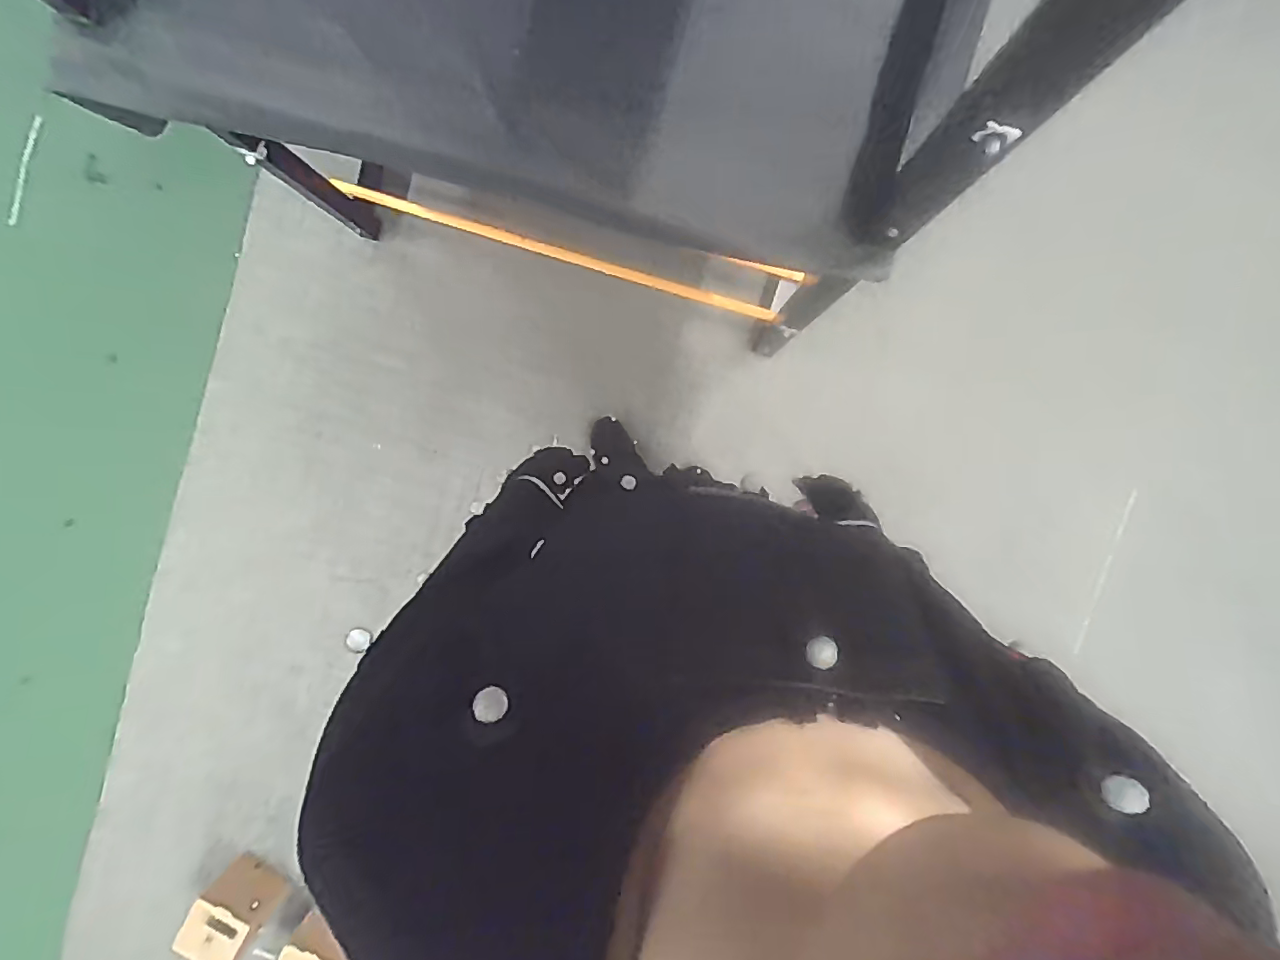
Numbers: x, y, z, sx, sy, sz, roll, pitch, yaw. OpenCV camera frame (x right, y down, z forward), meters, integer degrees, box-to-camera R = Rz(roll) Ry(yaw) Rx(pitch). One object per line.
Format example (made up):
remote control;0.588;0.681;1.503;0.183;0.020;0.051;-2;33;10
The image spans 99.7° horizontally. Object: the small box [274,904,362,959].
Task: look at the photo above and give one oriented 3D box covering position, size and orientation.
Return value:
small box;-0.906;1.340;1.489;0.168;0.176;0.179;26;92;0
